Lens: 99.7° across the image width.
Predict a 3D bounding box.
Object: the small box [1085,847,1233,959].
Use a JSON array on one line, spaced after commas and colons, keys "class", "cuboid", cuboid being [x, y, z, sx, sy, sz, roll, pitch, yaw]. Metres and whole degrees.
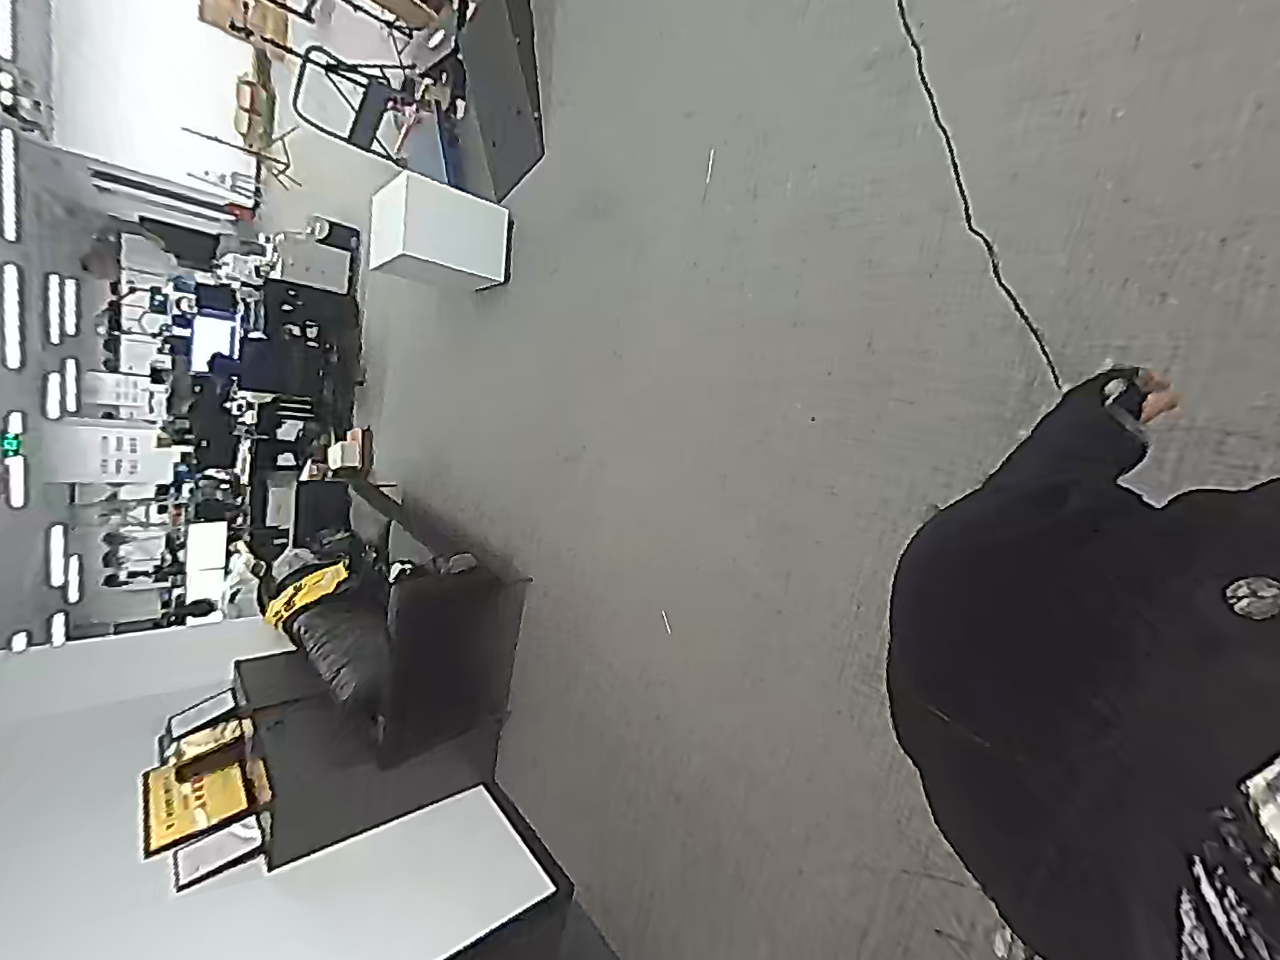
[{"class": "small box", "cuboid": [1.018, 0.881, 1.065, 0.168, 0.176, 0.179, 22, 106, 46]}]
